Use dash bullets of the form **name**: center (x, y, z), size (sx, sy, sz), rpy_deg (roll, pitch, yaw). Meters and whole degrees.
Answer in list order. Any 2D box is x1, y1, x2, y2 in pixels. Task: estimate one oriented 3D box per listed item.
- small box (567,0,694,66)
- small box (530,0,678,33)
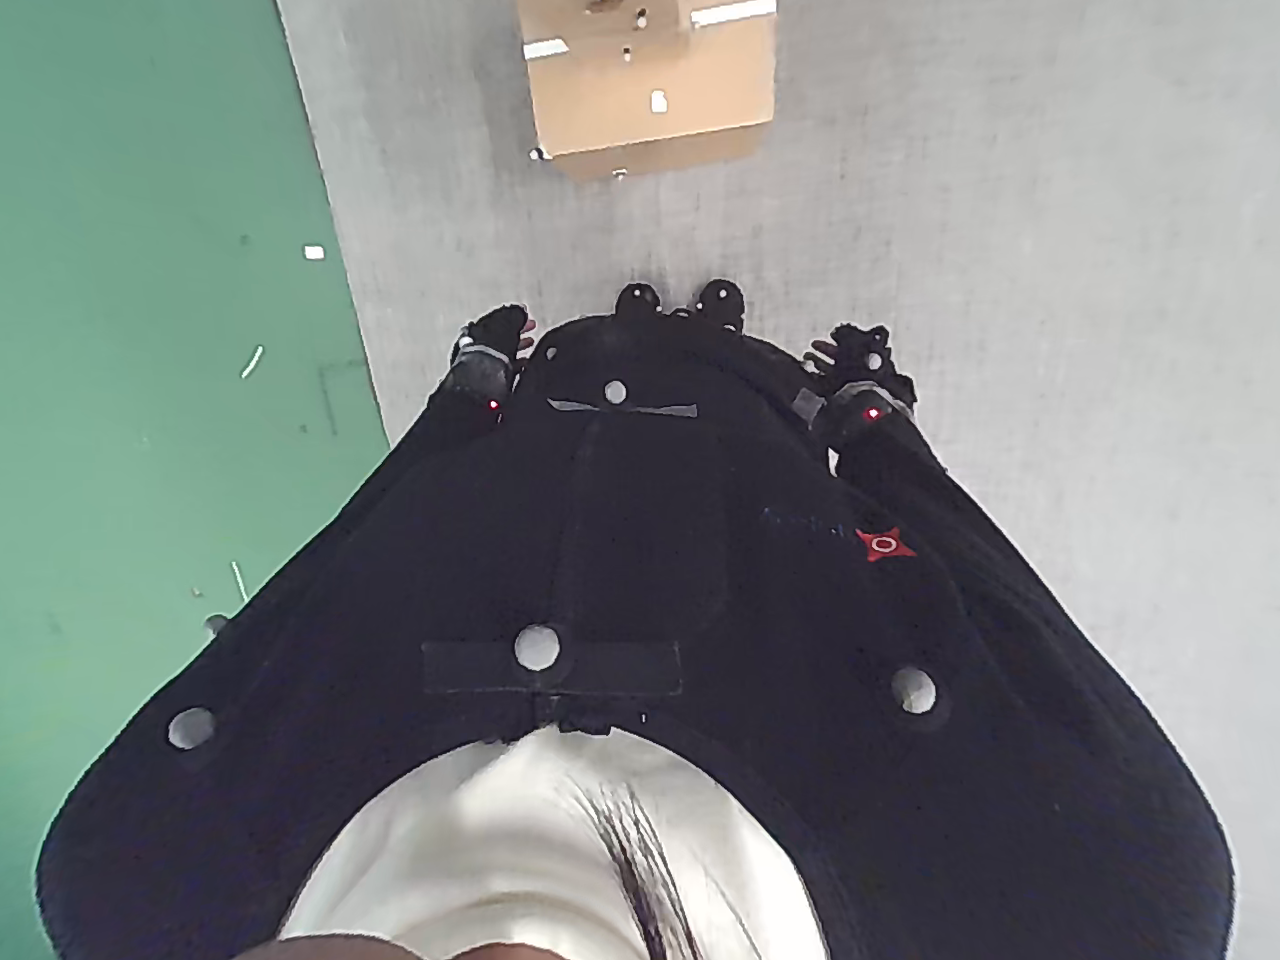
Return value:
- **small box**: center (-0.016, -0.723, 0.776), size (0.179, 0.176, 0.168), rpy_deg (-4, 118, 9)
- **small box**: center (-0.043, -0.654, 0.632), size (0.168, 0.176, 0.179), rpy_deg (-2, 116, 7)
